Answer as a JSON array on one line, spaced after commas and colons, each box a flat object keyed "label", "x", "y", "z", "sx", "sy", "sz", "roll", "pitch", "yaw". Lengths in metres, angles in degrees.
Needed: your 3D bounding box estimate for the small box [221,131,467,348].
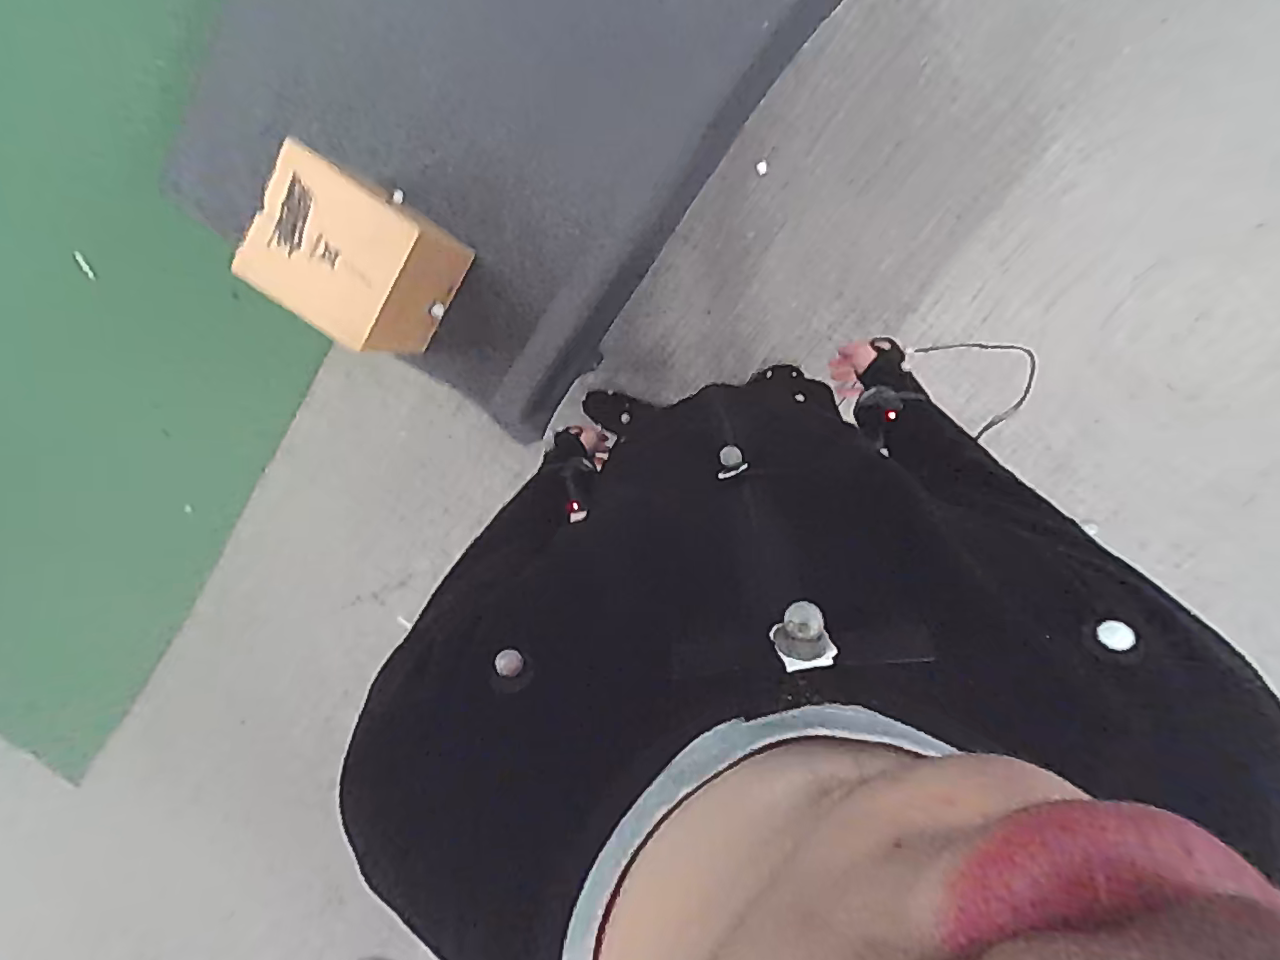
[{"label": "small box", "x": -0.353, "y": -0.279, "z": 0.676, "sx": 0.179, "sy": 0.176, "sz": 0.168, "roll": 34, "pitch": 104, "yaw": -5}]
